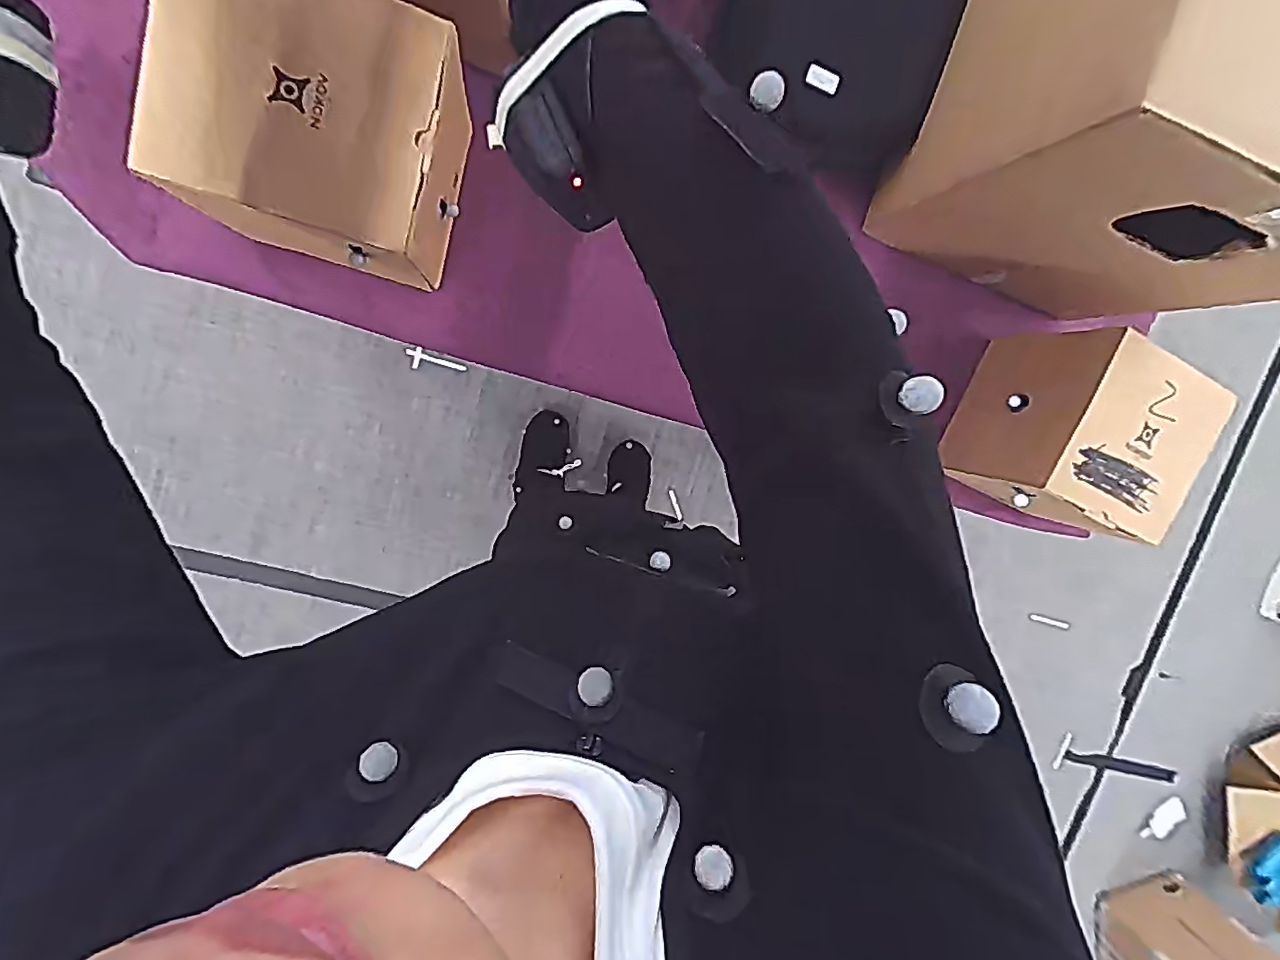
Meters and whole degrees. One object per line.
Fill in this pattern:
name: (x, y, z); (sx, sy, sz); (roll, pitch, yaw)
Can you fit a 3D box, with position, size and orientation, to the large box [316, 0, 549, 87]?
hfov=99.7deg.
large box: (-0.169, -0.586, 0.341); (0.320, 0.320, 0.408); (15, 100, -14)
